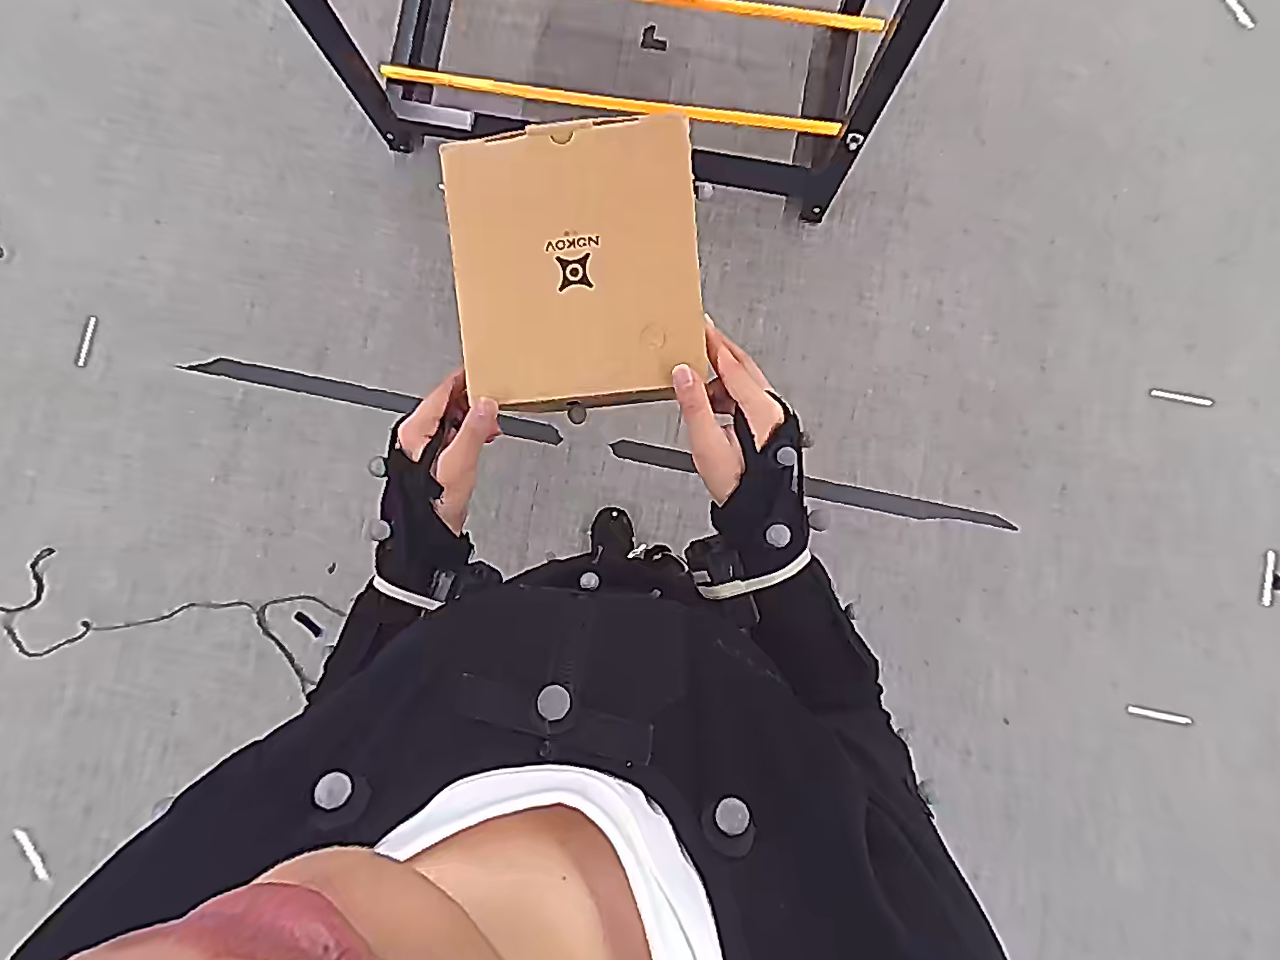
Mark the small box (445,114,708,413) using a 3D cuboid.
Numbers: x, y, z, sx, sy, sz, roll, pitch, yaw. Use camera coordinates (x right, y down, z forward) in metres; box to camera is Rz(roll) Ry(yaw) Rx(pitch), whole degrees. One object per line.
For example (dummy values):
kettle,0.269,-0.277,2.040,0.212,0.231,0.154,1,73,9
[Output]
small box,-0.034,-0.148,0.438,0.168,0.176,0.179,-6,94,5
